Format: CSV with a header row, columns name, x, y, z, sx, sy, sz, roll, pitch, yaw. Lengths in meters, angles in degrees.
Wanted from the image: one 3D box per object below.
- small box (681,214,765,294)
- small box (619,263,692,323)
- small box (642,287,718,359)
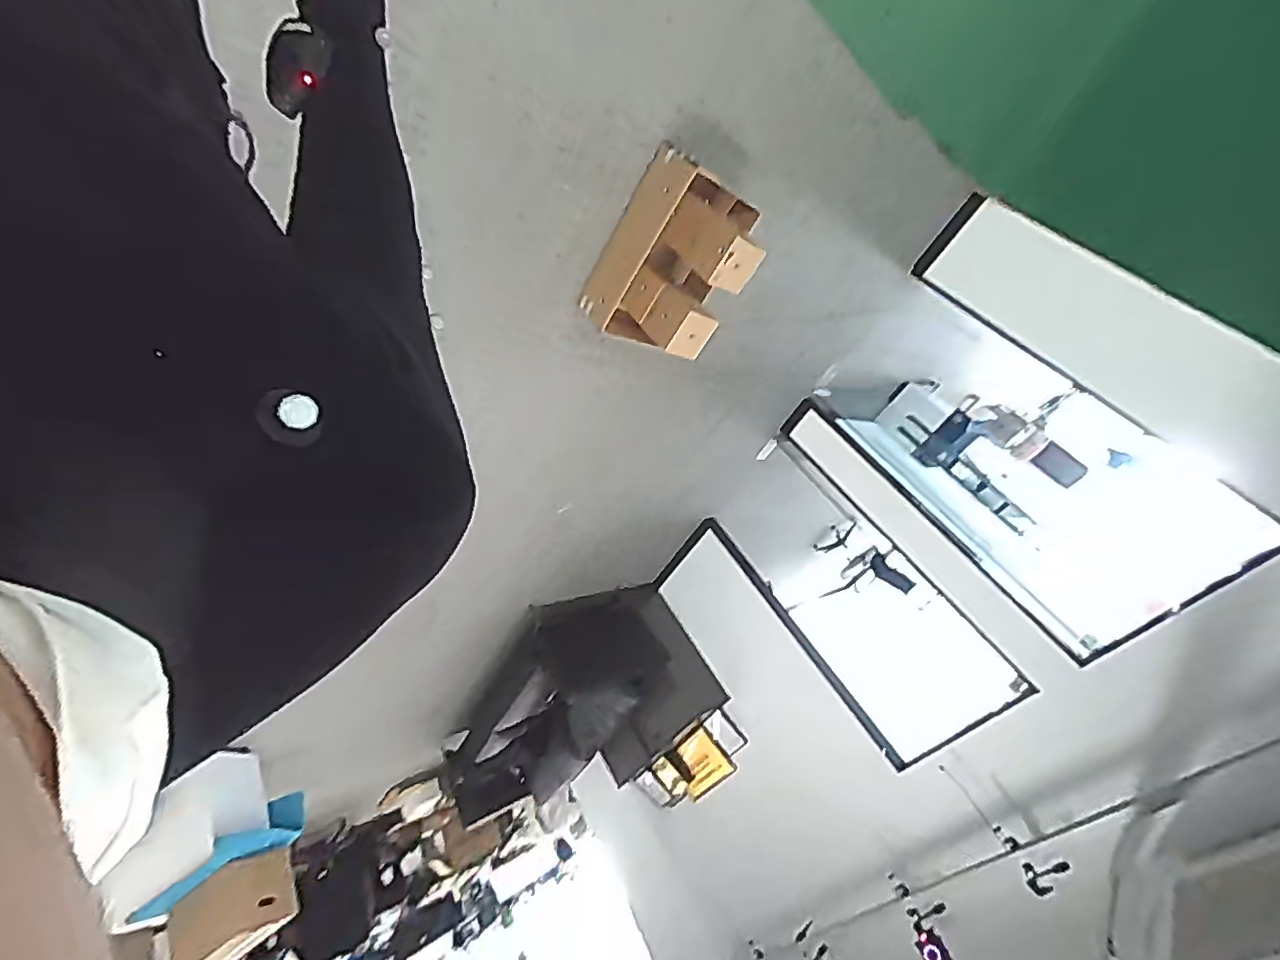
name,x,y,z,sx,sy,sz,roll,pitch,yaw
small box,0.272,-0.751,1.794,0.179,0.176,0.168,-1,136,-46
small box,0.051,-0.680,2.013,0.179,0.176,0.168,1,134,-47
small box,0.137,-0.563,1.935,0.179,0.176,0.168,1,134,-48
